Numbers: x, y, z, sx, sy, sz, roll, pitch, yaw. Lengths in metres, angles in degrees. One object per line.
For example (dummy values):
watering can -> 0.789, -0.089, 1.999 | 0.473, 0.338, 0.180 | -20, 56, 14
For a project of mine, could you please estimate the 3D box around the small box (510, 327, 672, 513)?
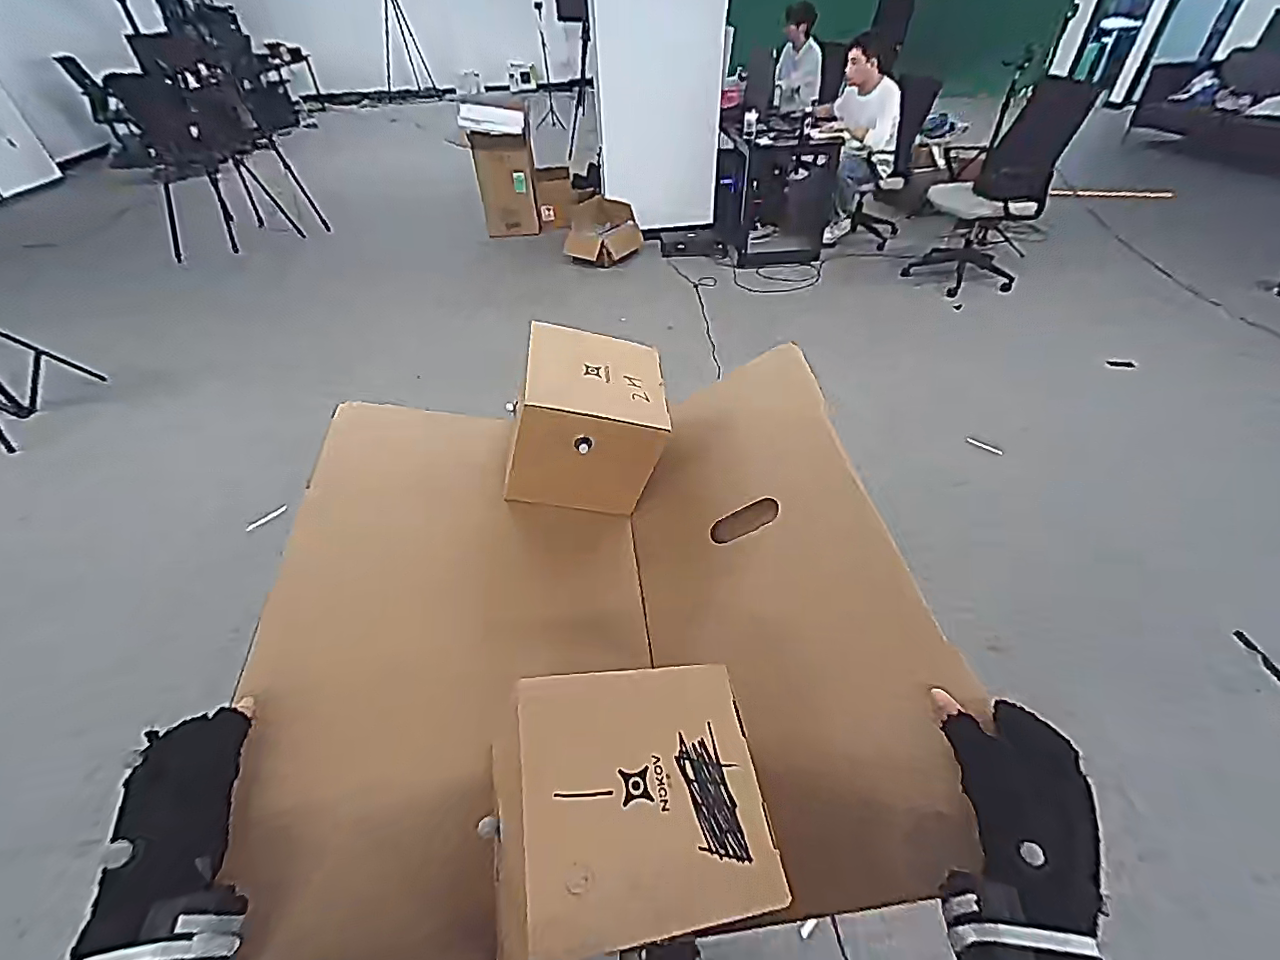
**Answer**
small box -> -0.073, -0.074, 0.727 | 0.179, 0.176, 0.168 | 10, 47, -16
